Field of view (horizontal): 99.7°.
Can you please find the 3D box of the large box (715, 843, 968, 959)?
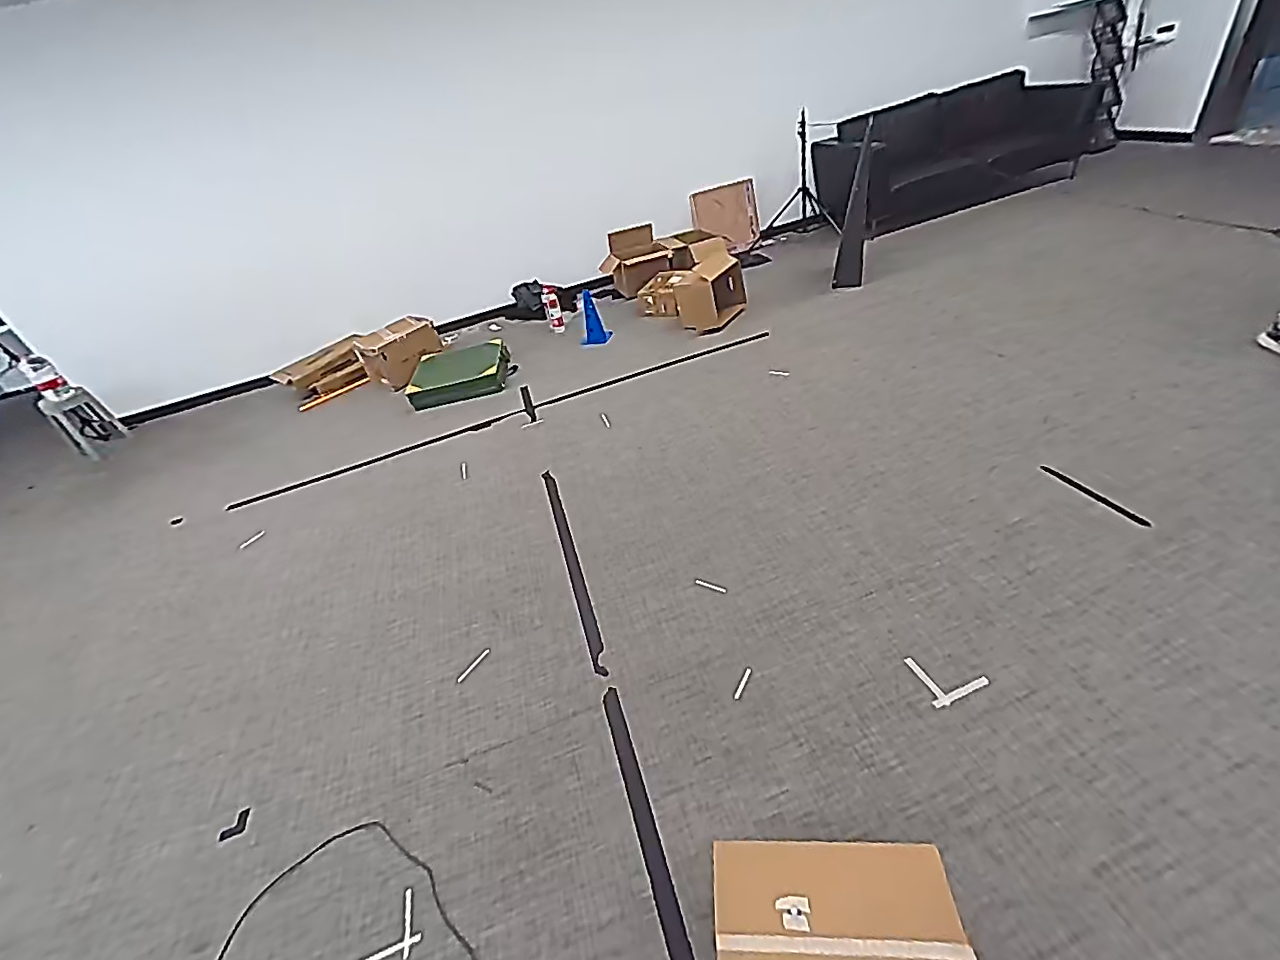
[{"bbox_3d":[0.362,0.898,0.985,0.408,0.320,0.320,-7,35,10],"label":"large box"}]
